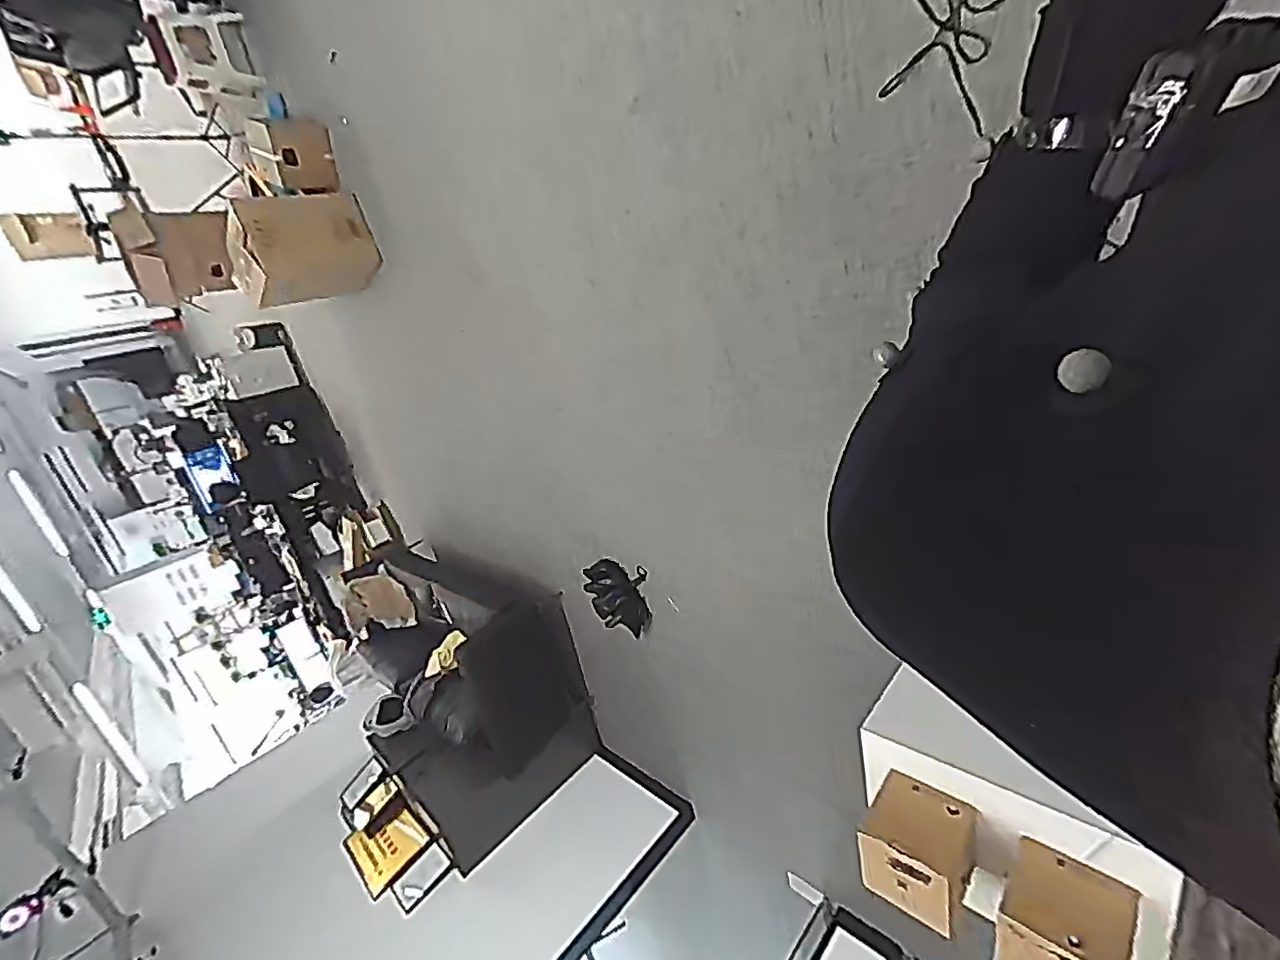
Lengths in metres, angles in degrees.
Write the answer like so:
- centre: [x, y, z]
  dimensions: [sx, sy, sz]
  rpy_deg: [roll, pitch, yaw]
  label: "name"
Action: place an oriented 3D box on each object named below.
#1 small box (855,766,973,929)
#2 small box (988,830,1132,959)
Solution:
- centre: [0.552, 0.723, 1.088]
  dimensions: [0.168, 0.176, 0.179]
  rpy_deg: [9, 120, 45]
  label: "small box"
- centre: [0.717, 0.761, 0.926]
  dimensions: [0.168, 0.176, 0.179]
  rpy_deg: [10, 121, 44]
  label: "small box"
